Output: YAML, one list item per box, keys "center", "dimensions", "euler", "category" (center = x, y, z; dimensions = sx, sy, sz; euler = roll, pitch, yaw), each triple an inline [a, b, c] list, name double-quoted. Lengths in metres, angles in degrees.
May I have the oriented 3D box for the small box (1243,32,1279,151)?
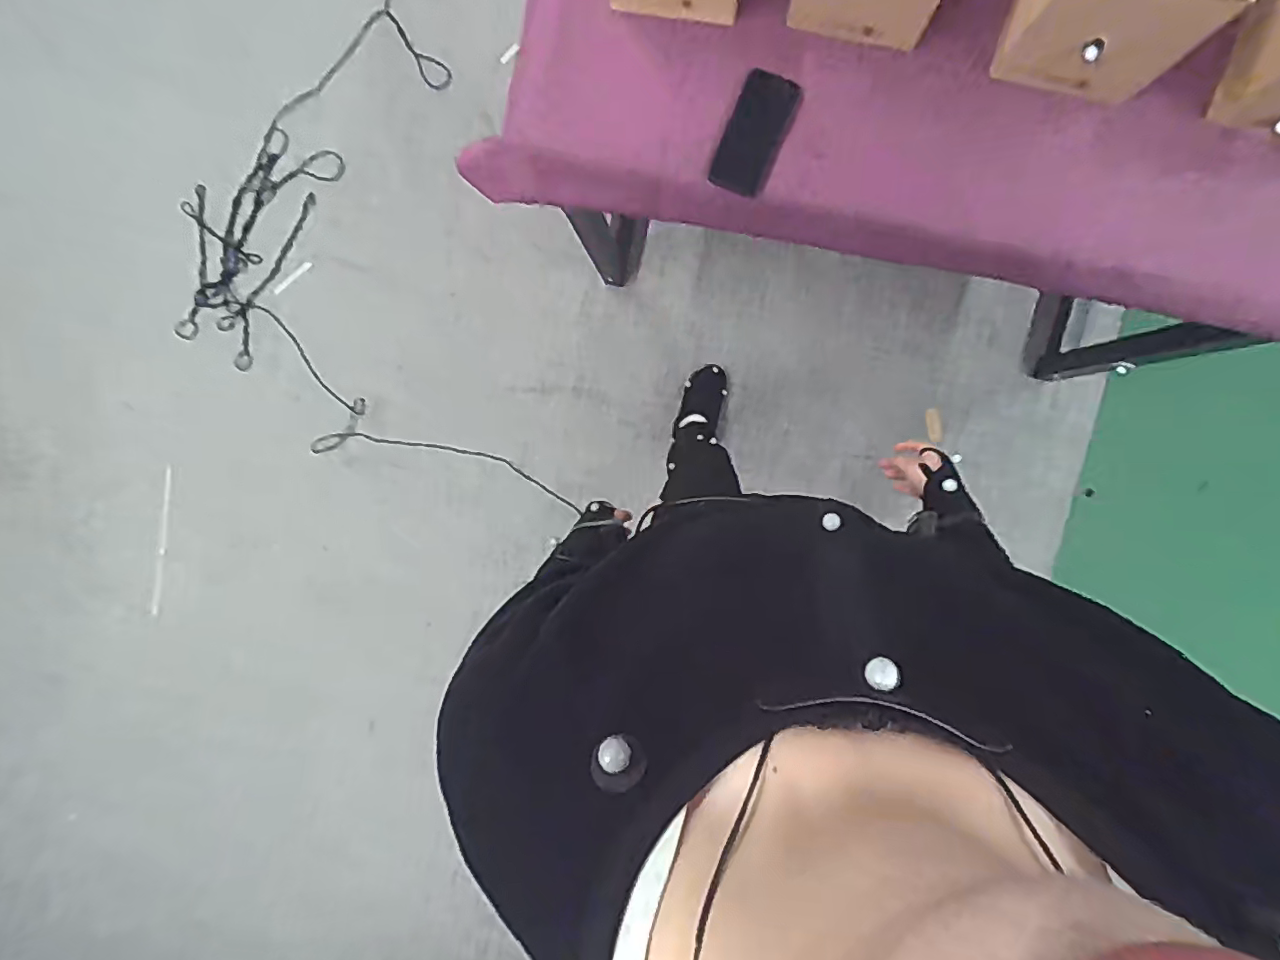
- center: [0.806, -0.460, 0.555]
  dimensions: [0.168, 0.176, 0.179]
  euler: [19, 96, 7]
  category: "small box"
